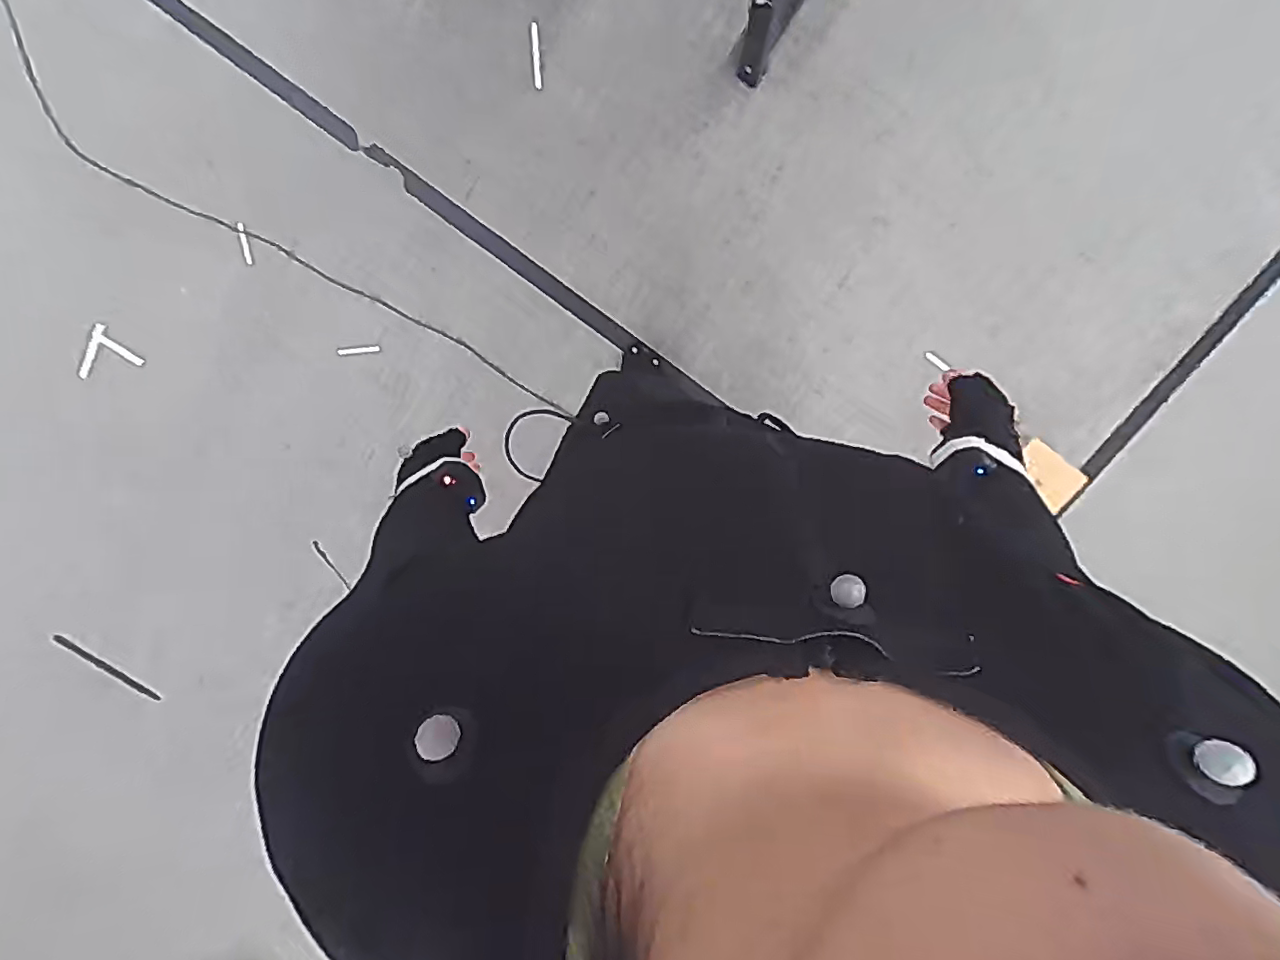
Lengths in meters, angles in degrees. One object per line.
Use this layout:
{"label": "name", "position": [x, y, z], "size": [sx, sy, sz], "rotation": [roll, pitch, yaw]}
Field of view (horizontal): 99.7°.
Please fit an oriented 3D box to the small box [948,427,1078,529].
{"label": "small box", "position": [0.904, -0.012, 1.338], "size": [0.168, 0.176, 0.179], "rotation": [37, 102, -4]}
